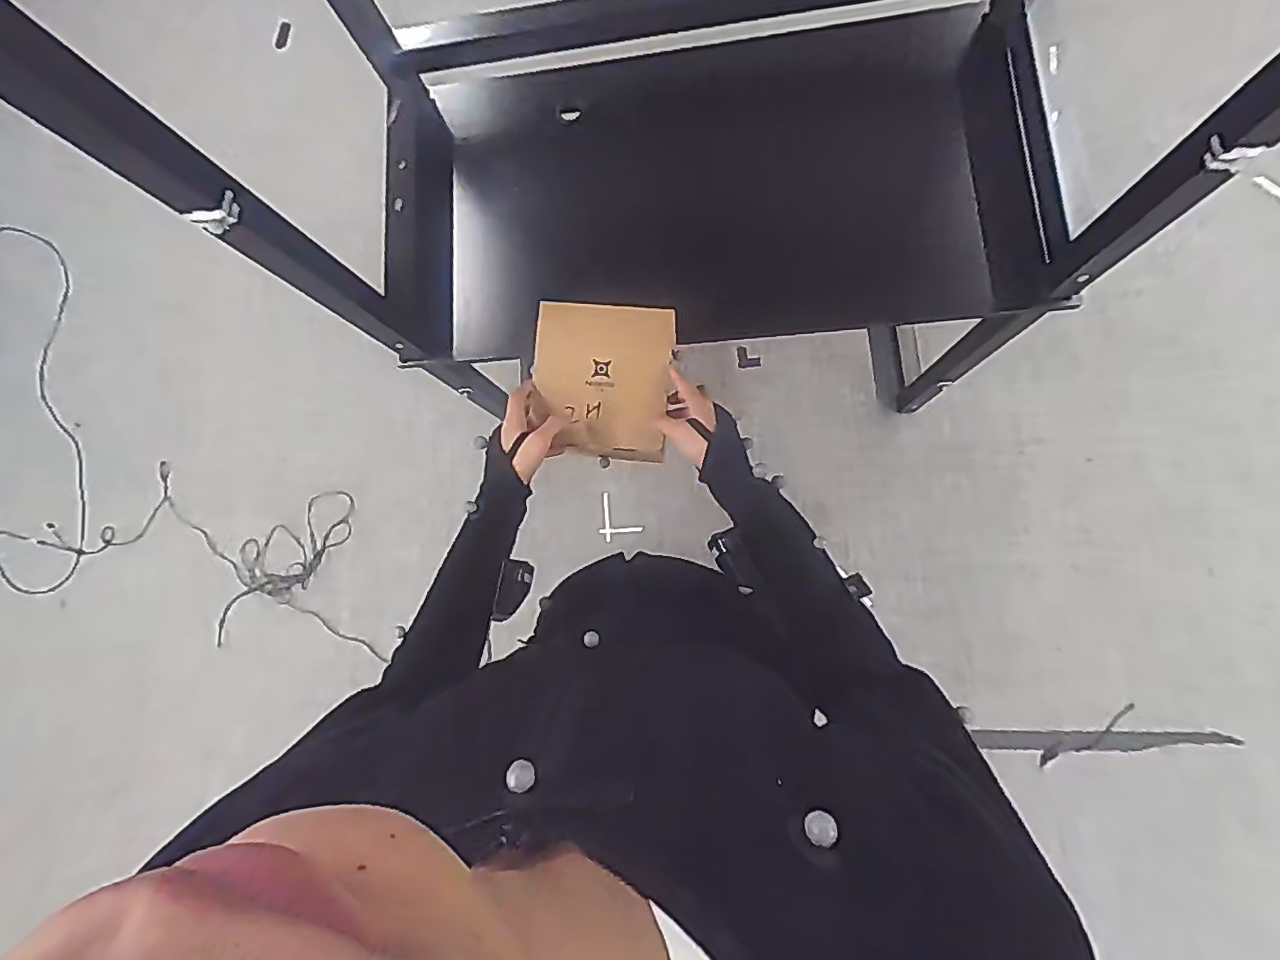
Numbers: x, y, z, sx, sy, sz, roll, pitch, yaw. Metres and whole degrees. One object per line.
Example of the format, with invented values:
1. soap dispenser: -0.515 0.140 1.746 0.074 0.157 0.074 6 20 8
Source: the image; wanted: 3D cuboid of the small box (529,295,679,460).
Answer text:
1. small box: -0.039 -0.126 0.722 0.168 0.176 0.179 5 89 4
